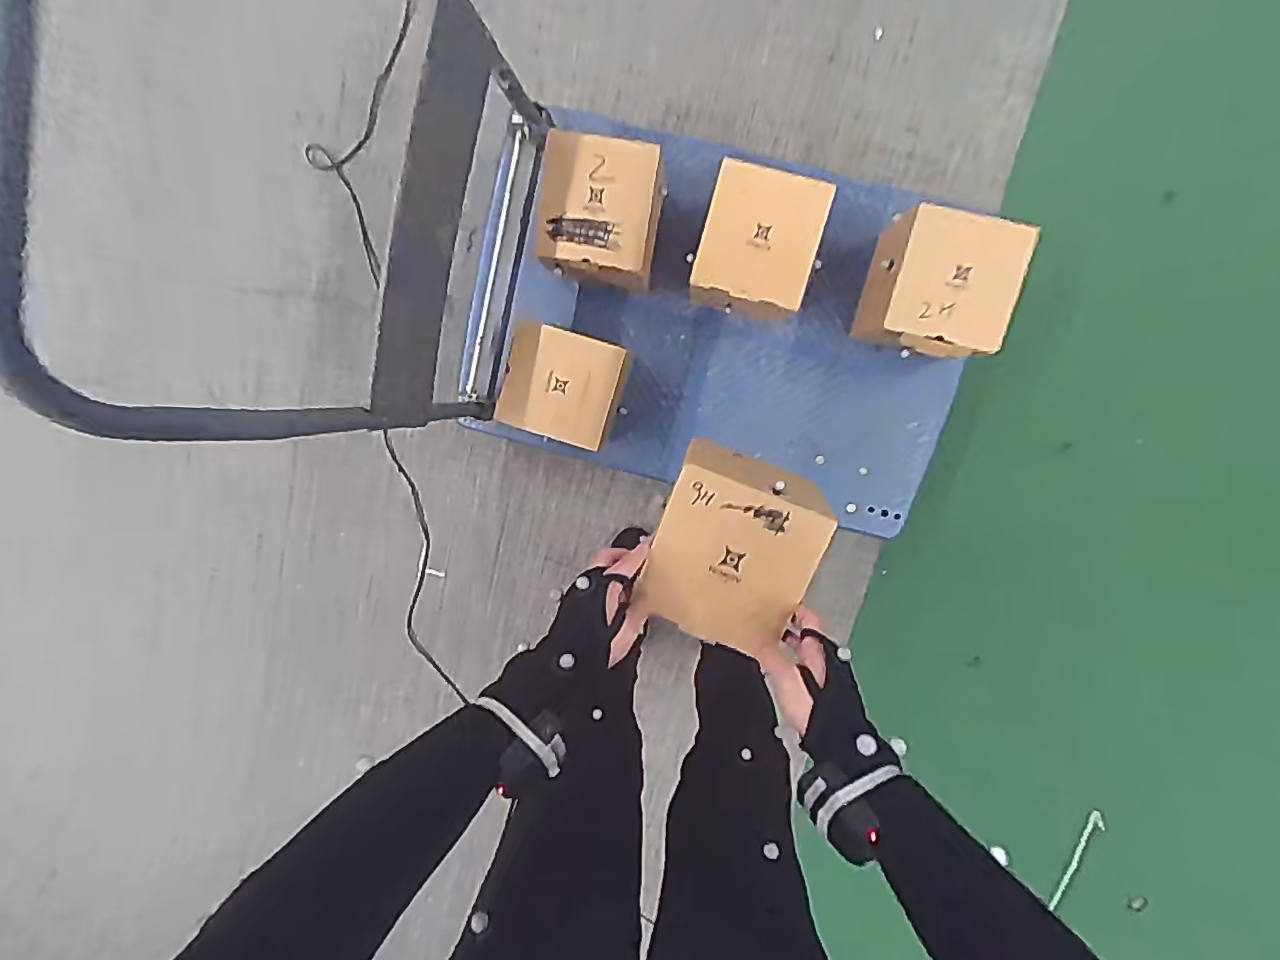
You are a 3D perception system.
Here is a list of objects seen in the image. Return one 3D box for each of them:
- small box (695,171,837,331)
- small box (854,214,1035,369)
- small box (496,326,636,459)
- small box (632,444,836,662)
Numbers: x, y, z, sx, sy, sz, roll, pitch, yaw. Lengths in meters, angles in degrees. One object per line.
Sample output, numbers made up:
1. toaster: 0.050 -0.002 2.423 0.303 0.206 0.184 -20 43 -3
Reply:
1. small box: 0.184 -0.348 0.856 0.168 0.176 0.179 15 101 2
2. small box: 0.455 -0.279 0.841 0.168 0.176 0.179 15 100 3
3. small box: -0.116 -0.145 0.911 0.179 0.176 0.168 18 100 1
4. small box: 0.108 0.075 0.650 0.168 0.176 0.179 23 105 3
